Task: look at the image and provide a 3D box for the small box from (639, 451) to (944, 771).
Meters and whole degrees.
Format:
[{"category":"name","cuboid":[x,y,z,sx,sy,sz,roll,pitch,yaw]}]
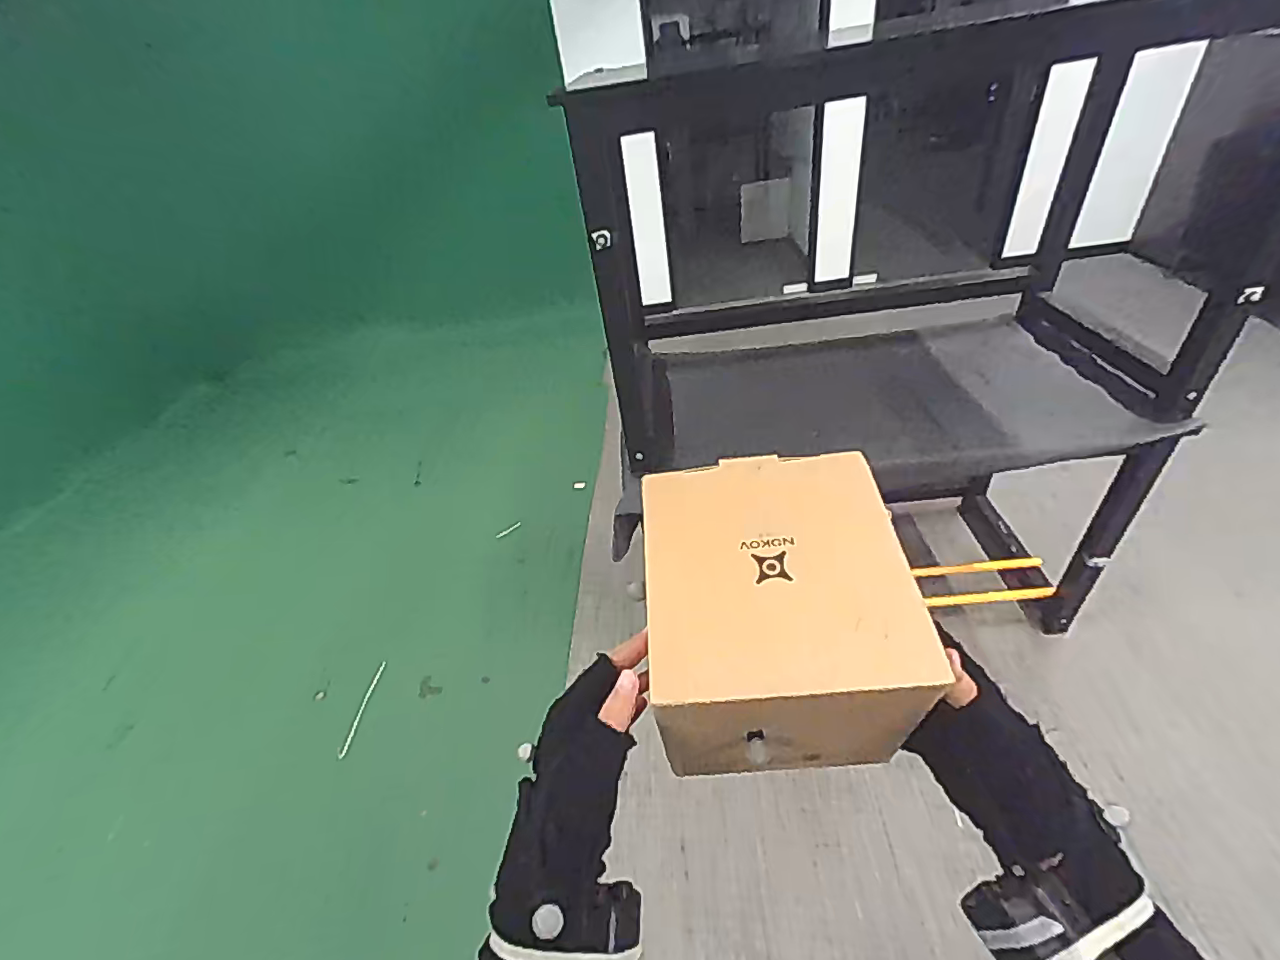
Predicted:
[{"category":"small box","cuboid":[0.093,0.105,0.407,0.168,0.176,0.179,-6,47,5]}]
